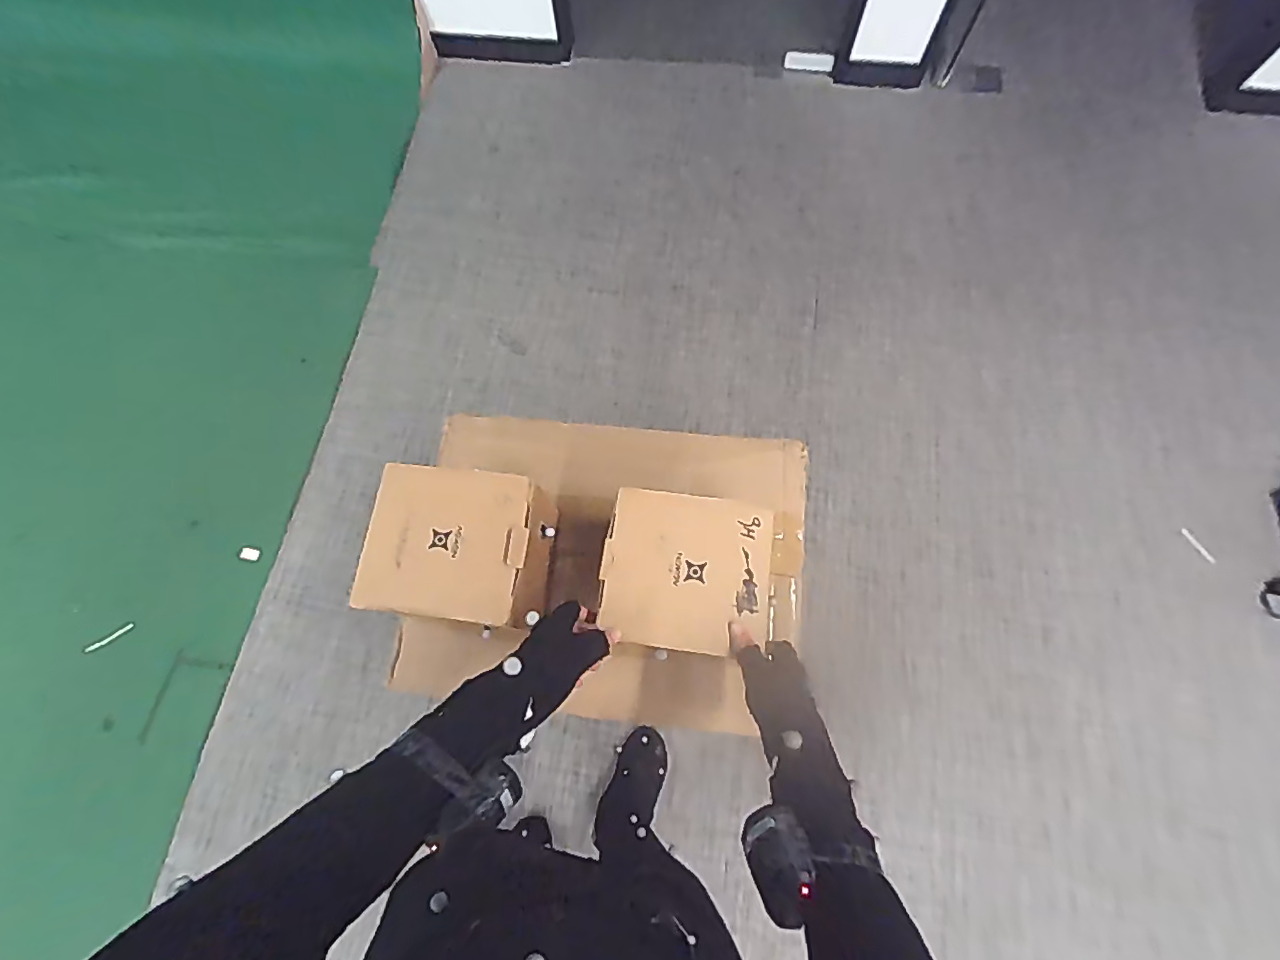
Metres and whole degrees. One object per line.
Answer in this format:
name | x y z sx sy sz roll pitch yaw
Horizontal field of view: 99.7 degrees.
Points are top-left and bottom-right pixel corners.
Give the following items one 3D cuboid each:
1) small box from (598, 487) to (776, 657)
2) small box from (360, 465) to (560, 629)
small box | 0.056 0.118 0.654 0.179 0.176 0.168 7 73 5
small box | -0.204 0.092 0.670 0.179 0.176 0.168 4 71 3
